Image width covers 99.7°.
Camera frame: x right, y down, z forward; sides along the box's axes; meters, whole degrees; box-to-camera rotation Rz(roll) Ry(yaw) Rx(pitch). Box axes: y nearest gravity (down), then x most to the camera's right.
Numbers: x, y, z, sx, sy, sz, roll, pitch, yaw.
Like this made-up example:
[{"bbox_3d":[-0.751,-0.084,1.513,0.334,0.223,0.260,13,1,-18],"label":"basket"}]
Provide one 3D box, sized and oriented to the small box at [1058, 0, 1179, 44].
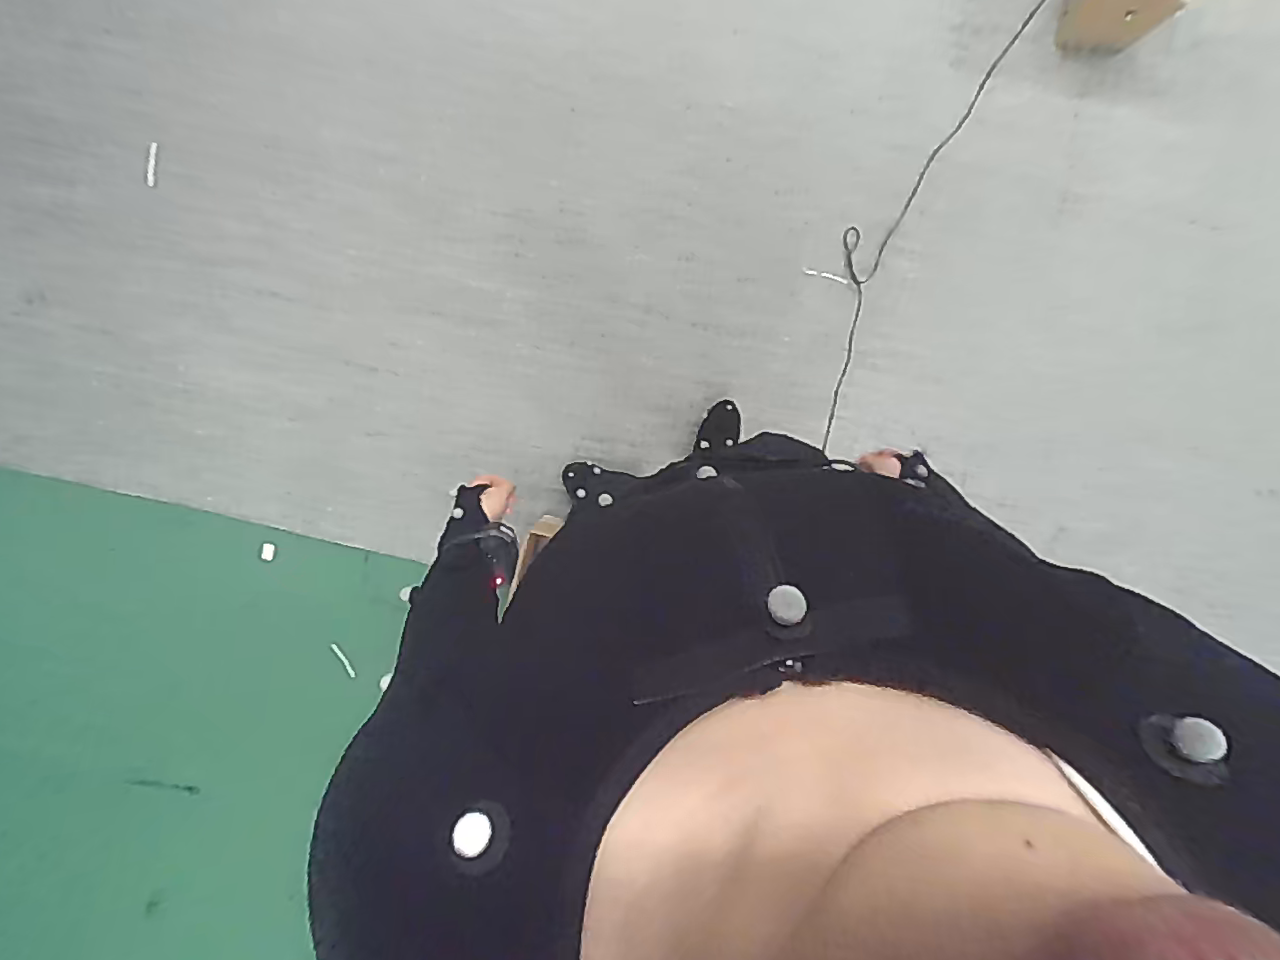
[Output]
[{"bbox_3d":[1.107,-1.140,1.232,0.179,0.176,0.168,5,98,0],"label":"small box"}]
